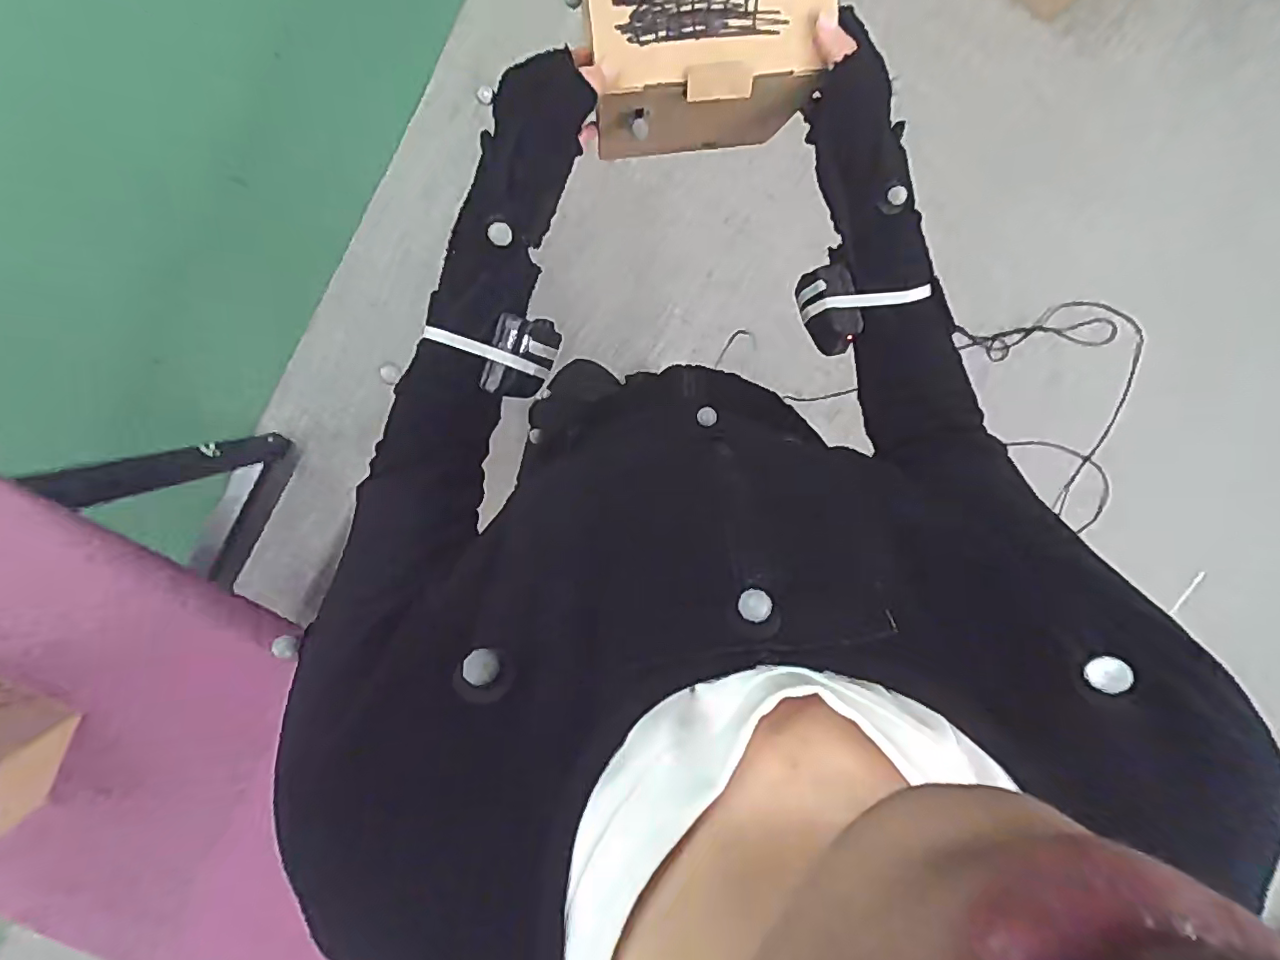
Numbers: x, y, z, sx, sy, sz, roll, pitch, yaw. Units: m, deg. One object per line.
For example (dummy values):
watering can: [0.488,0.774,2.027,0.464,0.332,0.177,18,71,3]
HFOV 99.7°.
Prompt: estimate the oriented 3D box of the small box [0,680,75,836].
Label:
small box: [-0.881,0.376,0.672,0.168,0.176,0.179,29,98,-9]
